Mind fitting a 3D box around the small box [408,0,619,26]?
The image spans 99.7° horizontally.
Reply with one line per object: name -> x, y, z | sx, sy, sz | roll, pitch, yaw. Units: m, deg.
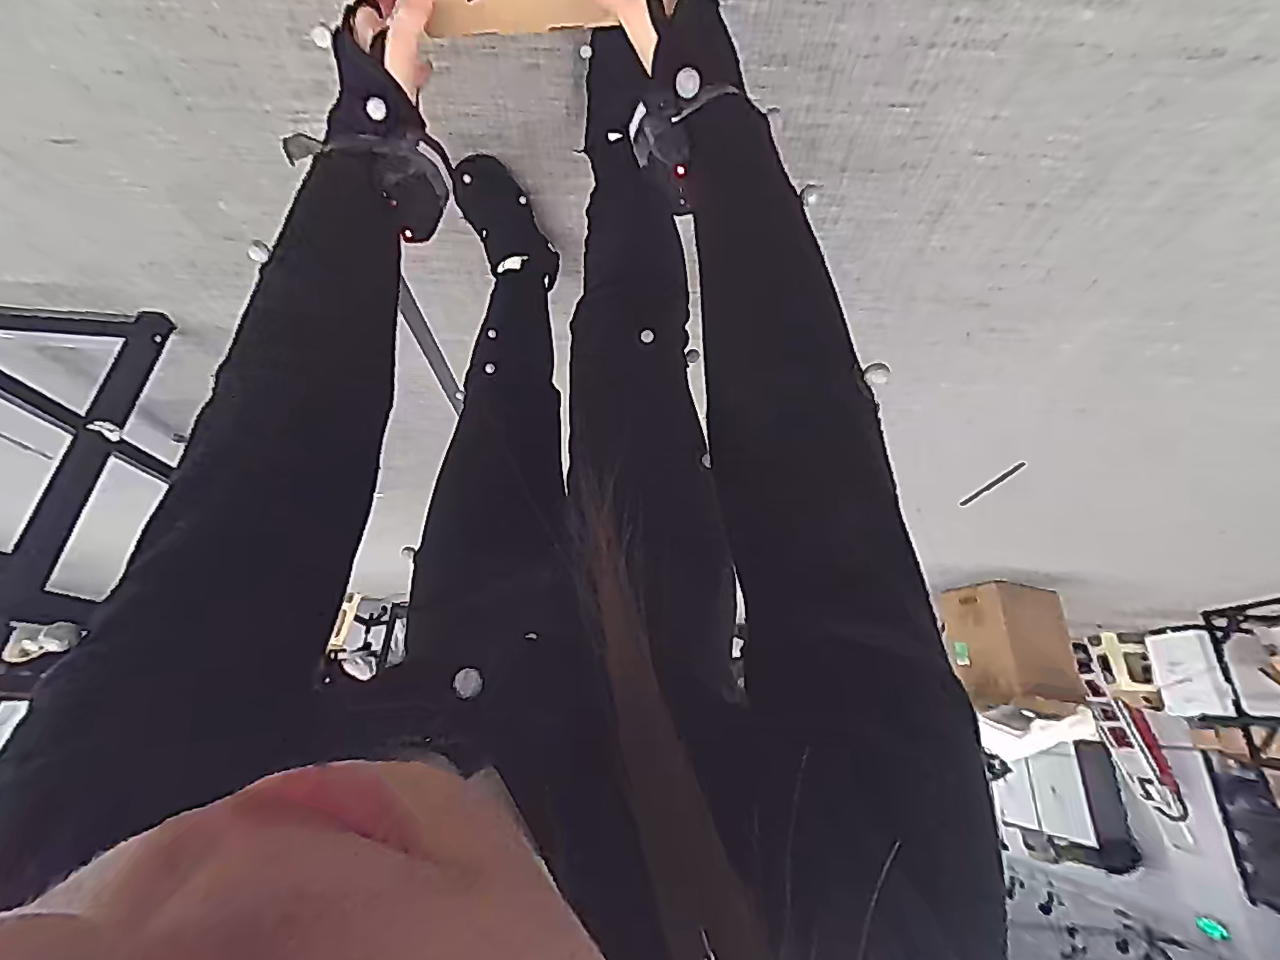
small box -> -0.100, -0.472, 0.381 | 0.168, 0.176, 0.179 | 1, 157, 5
